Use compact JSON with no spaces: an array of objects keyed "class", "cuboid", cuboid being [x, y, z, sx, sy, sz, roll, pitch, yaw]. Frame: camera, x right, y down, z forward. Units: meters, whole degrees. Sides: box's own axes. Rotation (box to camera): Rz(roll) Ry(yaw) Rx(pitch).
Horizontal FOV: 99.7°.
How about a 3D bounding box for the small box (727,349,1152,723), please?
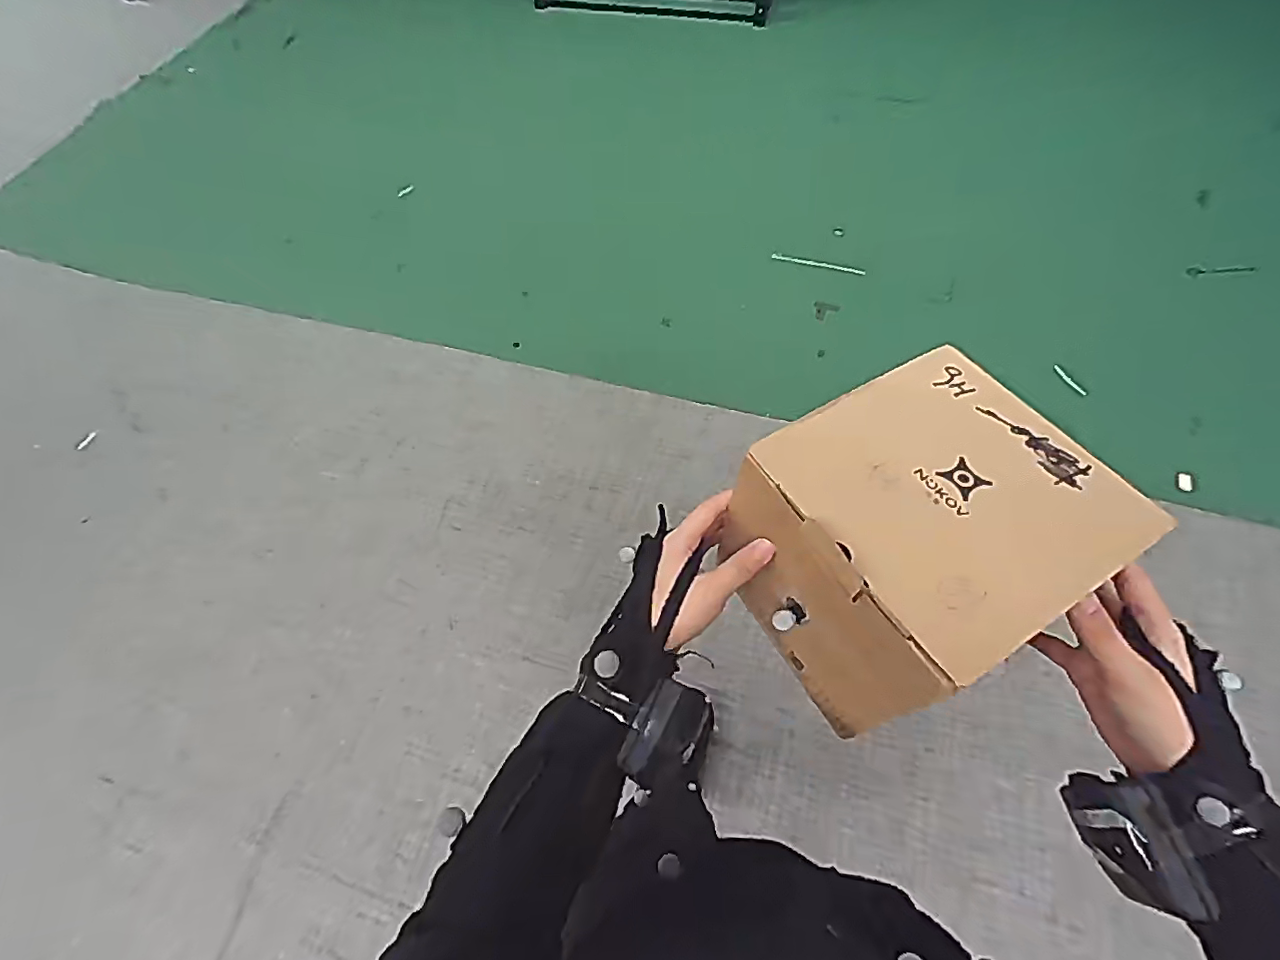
[{"class":"small box","cuboid":[0.175,0.047,0.385,0.179,0.176,0.168,-27,61,-15]}]
